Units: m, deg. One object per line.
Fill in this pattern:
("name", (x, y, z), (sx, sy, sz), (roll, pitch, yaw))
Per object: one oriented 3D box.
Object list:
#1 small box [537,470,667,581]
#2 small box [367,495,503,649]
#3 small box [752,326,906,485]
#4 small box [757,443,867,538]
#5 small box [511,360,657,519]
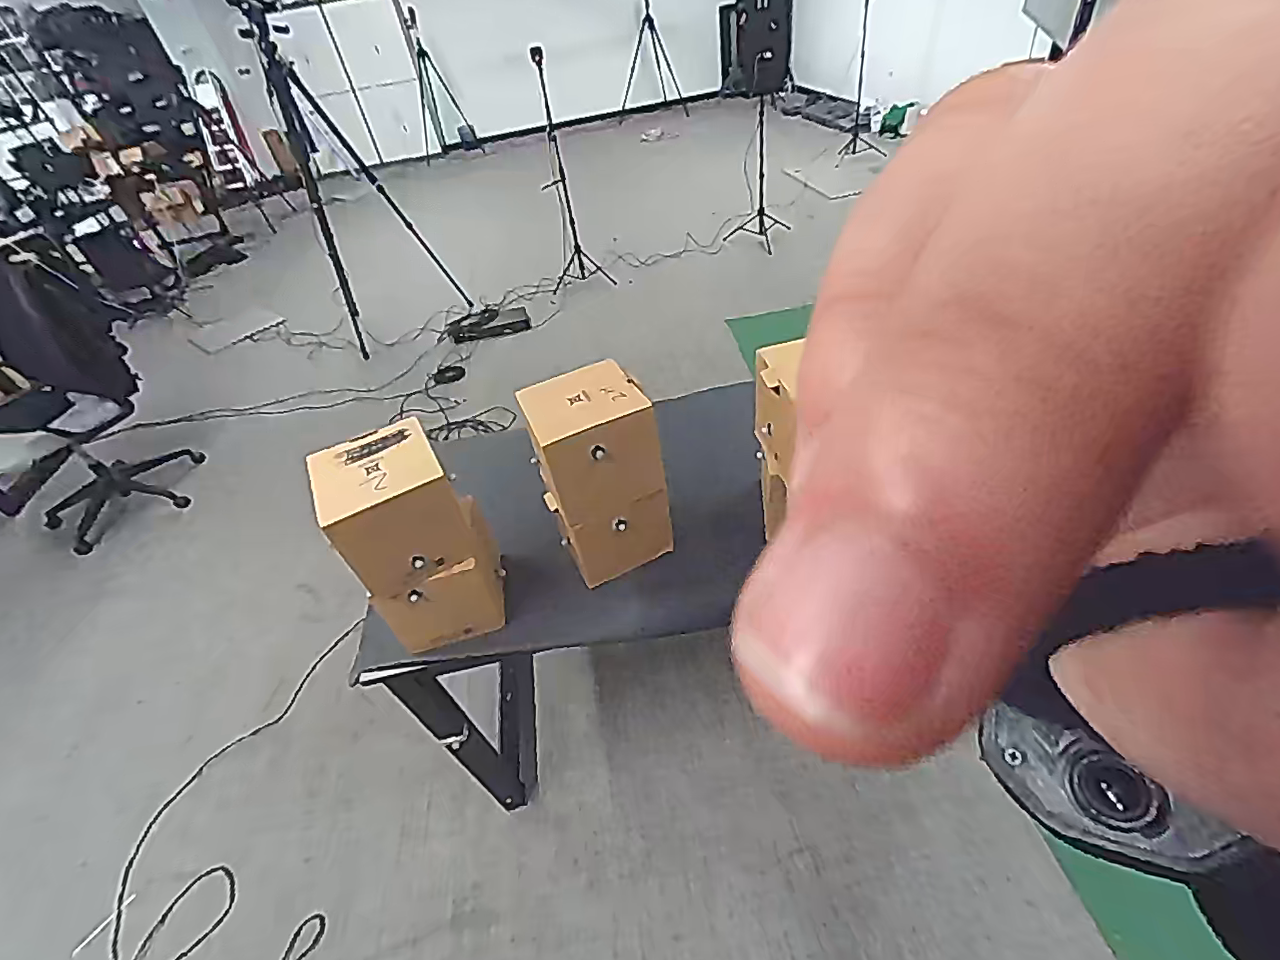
("small box", (-0.065, 0.054, 0.994), (0.179, 0.176, 0.168), (-23, 44, -14))
("small box", (-0.344, 0.158, 0.937), (0.168, 0.176, 0.179), (-15, 42, -6))
("small box", (0.285, -0.117, 0.859), (0.179, 0.176, 0.168), (-14, 42, -2))
("small box", (0.301, -0.013, 0.986), (0.168, 0.176, 0.179), (-2, 43, 10))
("small box", (-0.087, -0.064, 0.881), (0.179, 0.176, 0.168), (-22, 44, -12))
